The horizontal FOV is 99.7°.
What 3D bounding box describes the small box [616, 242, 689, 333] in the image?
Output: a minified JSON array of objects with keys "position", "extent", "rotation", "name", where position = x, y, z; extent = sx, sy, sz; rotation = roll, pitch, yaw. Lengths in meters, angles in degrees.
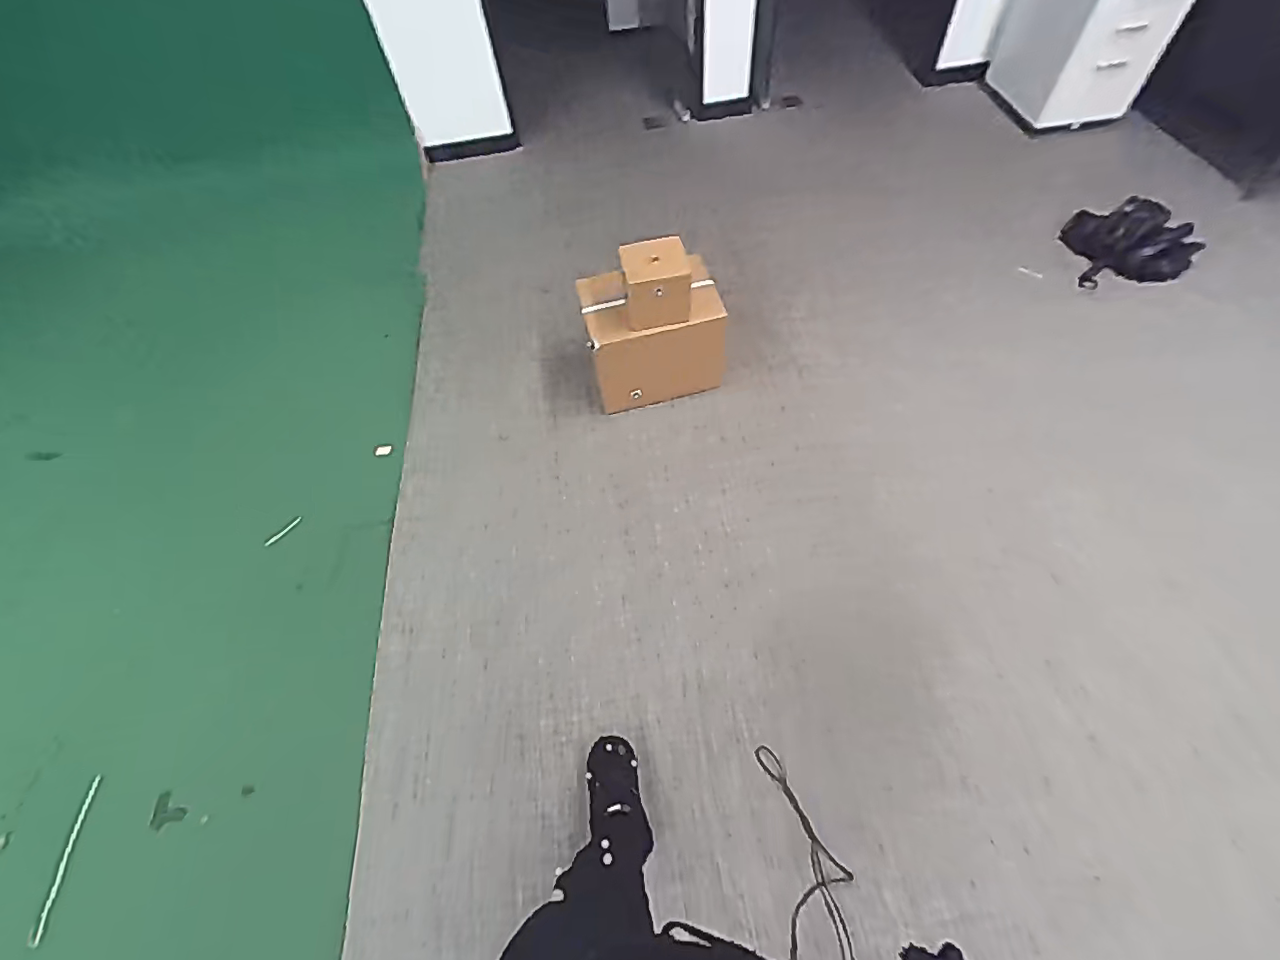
[{"position":[0.038,-0.539,1.531],"extent":[0.179,0.176,0.168],"rotation":[-11,59,-3],"name":"small box"}]
